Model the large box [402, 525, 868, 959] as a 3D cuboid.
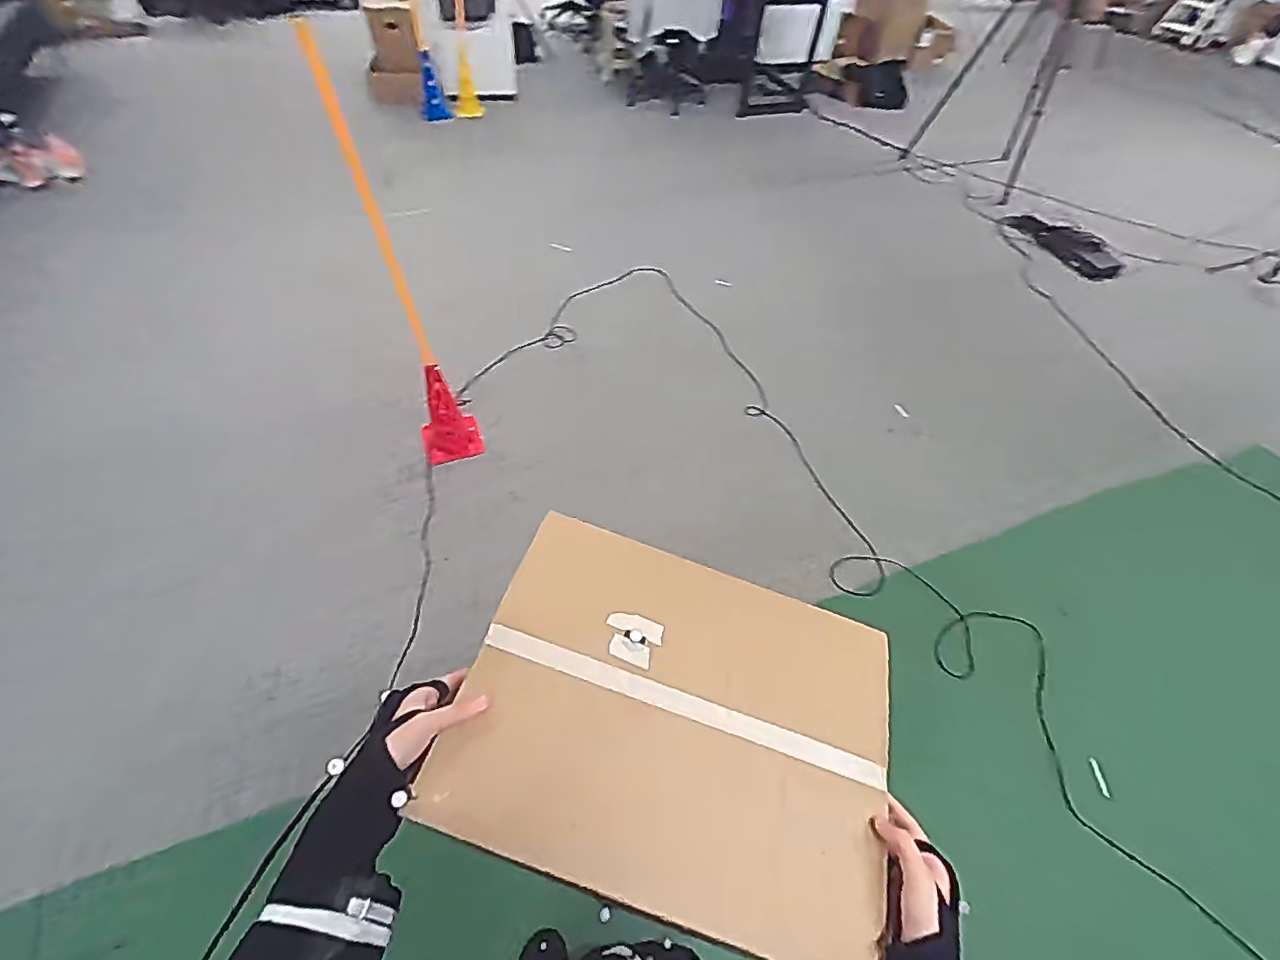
[{"bbox_3d":[0.006,0.313,0.649,0.408,0.320,0.320,20,53,2],"label":"large box"}]
